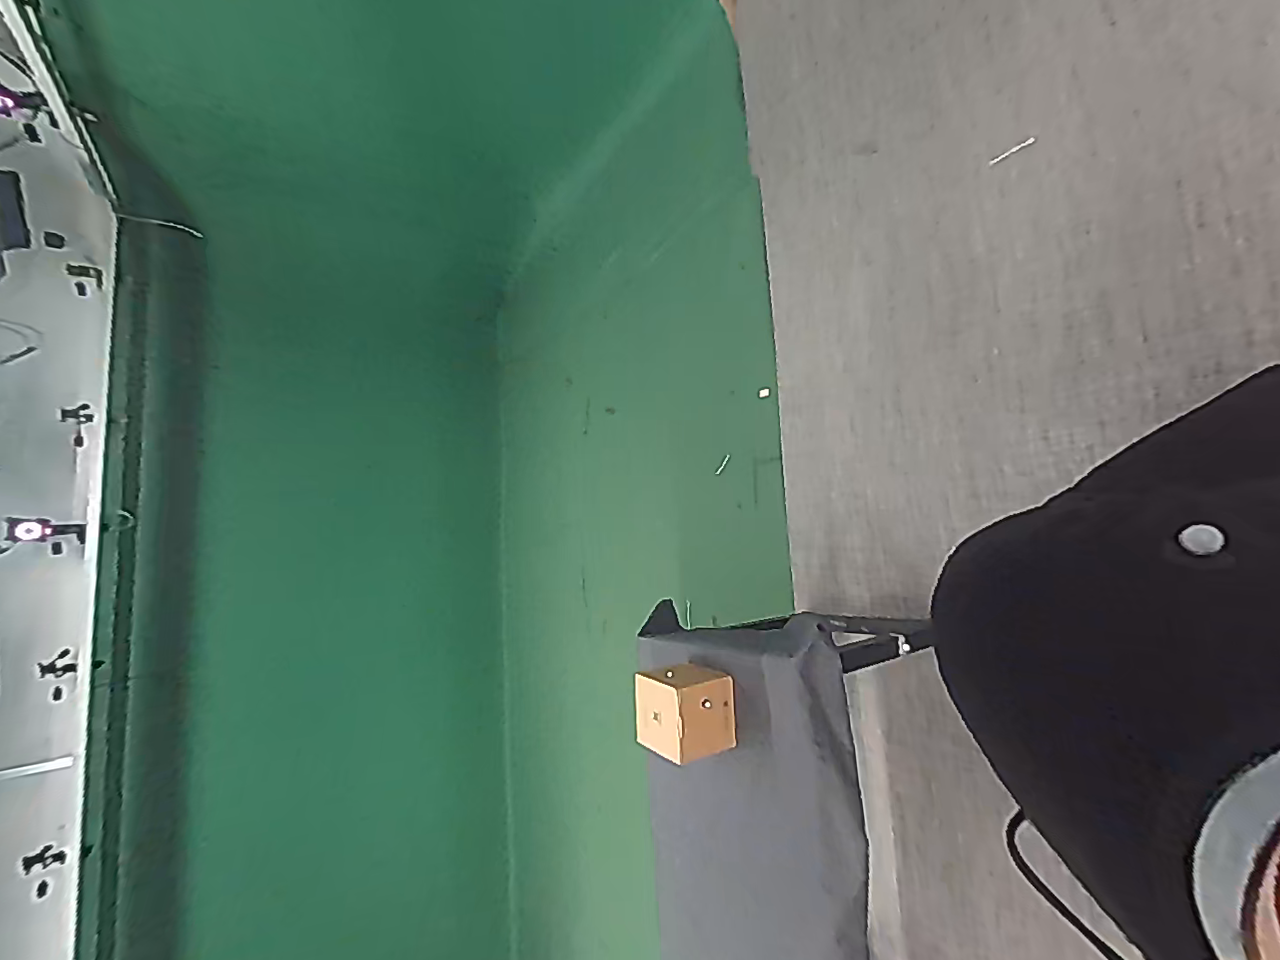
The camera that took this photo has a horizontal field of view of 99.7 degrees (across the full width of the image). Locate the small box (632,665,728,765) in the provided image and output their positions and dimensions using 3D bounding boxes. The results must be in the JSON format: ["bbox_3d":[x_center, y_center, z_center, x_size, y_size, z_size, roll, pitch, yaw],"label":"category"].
[{"bbox_3d":[0.097,0.550,1.293,0.179,0.176,0.168,-11,79,57],"label":"small box"}]
